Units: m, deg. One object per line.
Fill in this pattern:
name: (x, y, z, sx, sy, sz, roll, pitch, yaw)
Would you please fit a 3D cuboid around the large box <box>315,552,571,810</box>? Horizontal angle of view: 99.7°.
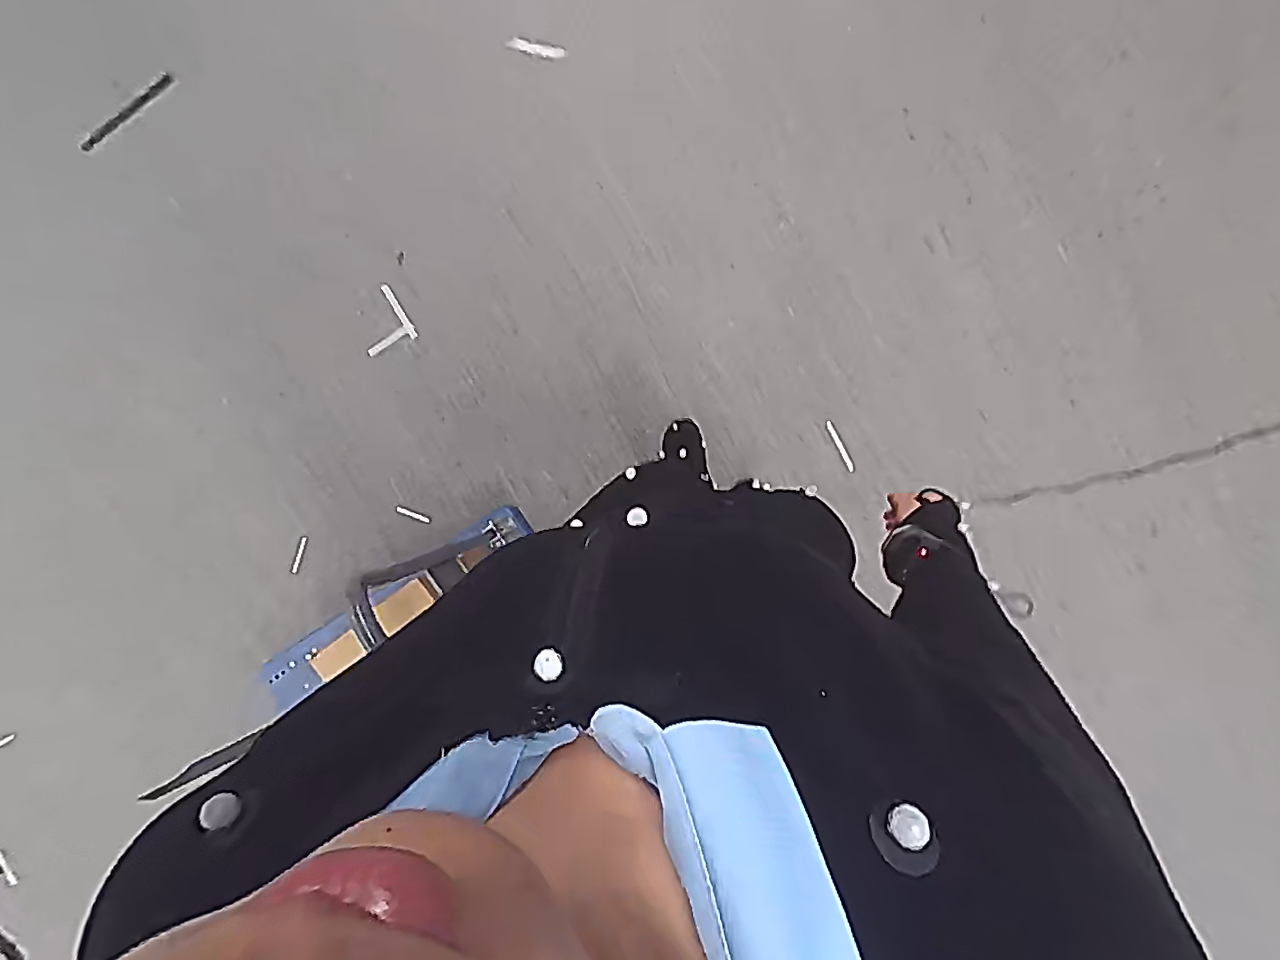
large box: (-0.426, 0.435, 1.253, 0.320, 0.320, 0.408, -37, 88, 7)
